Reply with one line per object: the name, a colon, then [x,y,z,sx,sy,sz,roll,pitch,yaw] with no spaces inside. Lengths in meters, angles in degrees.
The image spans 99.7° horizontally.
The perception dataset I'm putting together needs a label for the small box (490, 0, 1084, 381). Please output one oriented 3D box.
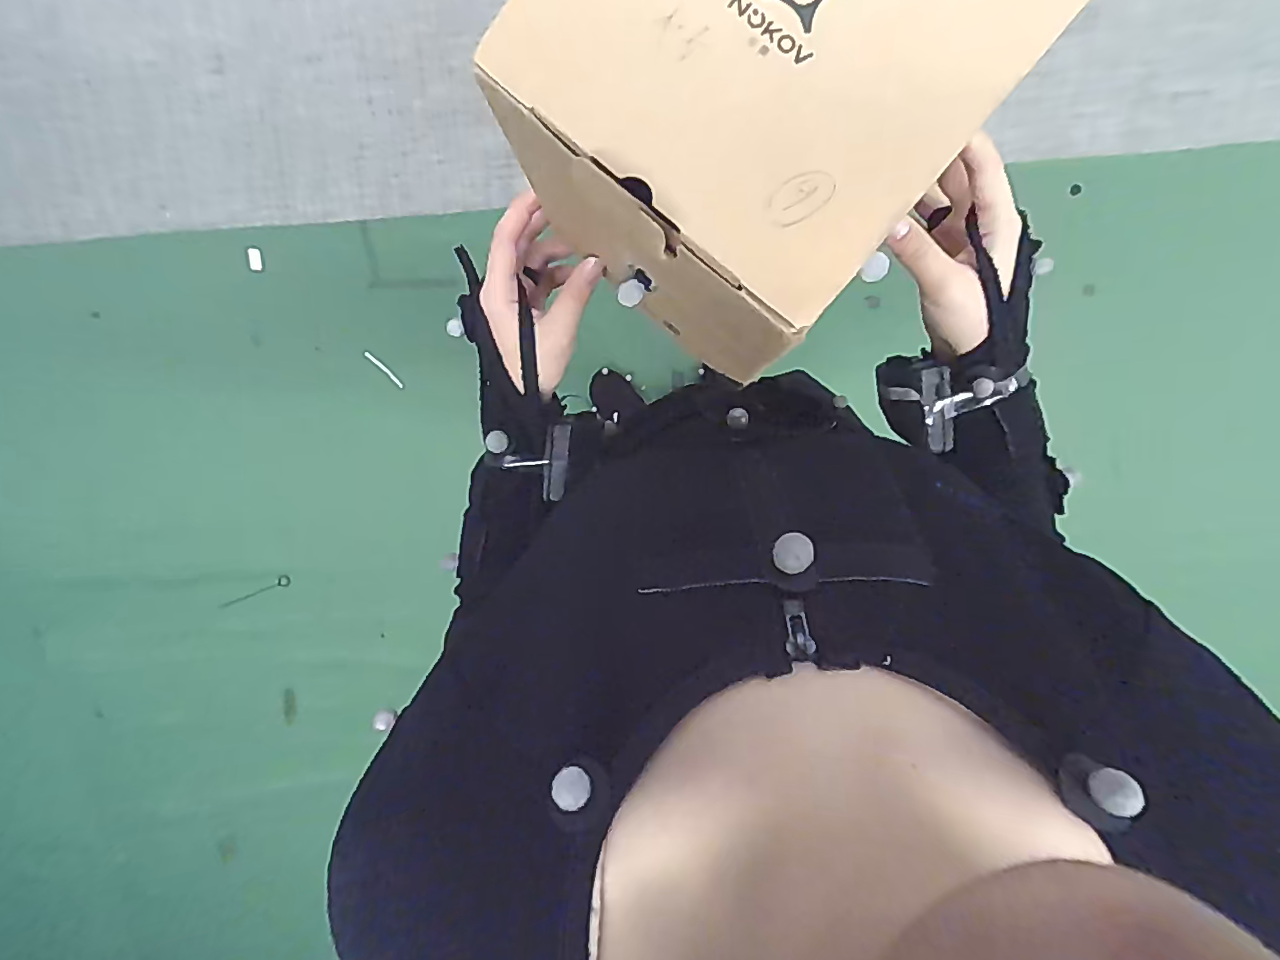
small box: [0.059,-0.174,0.291,0.168,0.176,0.179,40,94,1]
